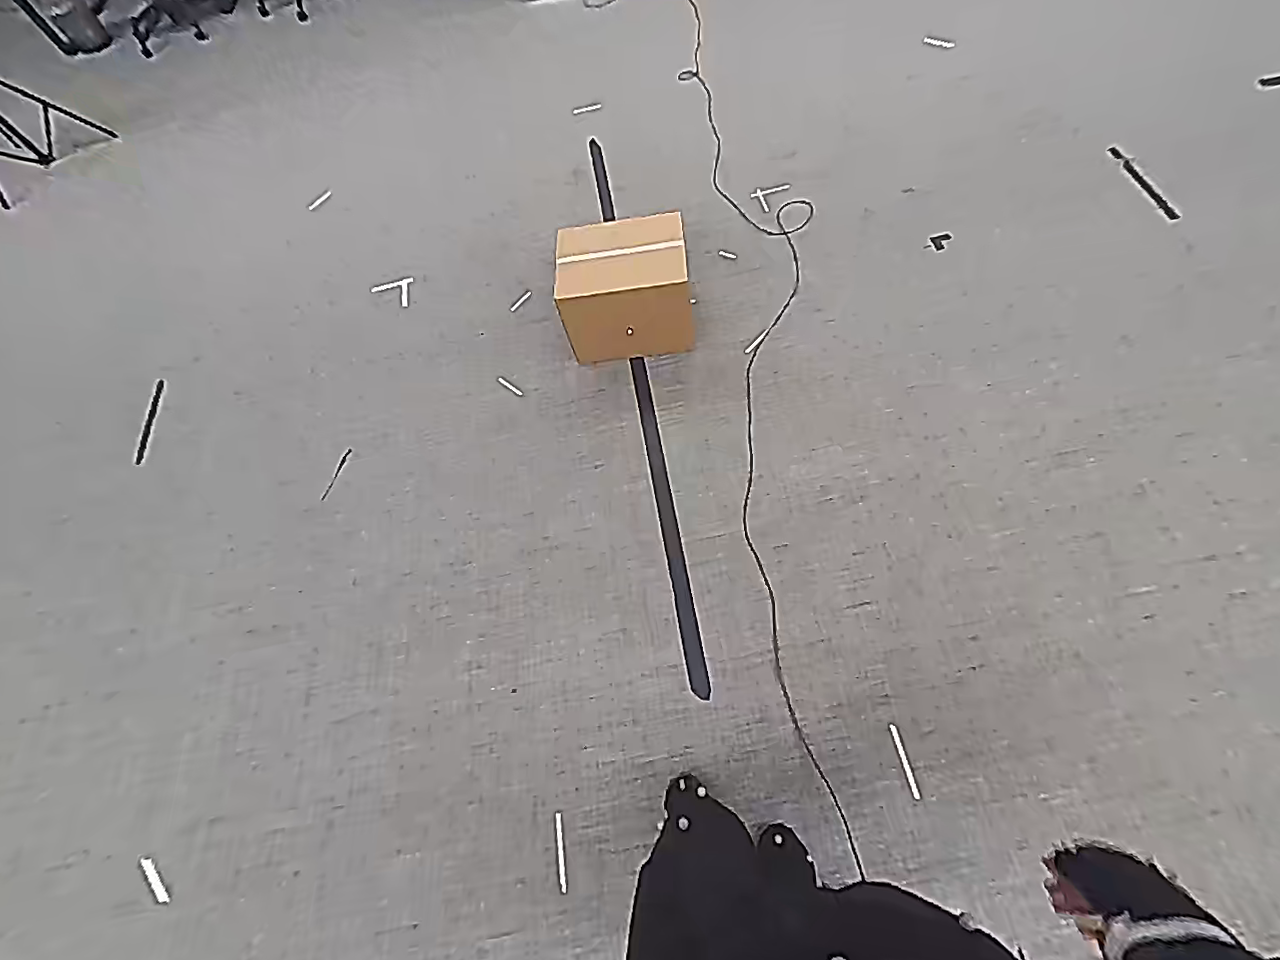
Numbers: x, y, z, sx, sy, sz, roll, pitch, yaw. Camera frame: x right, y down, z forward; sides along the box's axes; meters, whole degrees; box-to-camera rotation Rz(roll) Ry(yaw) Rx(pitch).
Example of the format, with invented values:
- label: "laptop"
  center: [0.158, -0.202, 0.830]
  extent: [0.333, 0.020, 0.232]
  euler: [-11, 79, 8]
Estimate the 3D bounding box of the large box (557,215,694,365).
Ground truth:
- label: "large box"
  center: [-0.039, -0.614, 1.785]
  extent: [0.408, 0.320, 0.320]
  euler: [-6, 63, 6]
